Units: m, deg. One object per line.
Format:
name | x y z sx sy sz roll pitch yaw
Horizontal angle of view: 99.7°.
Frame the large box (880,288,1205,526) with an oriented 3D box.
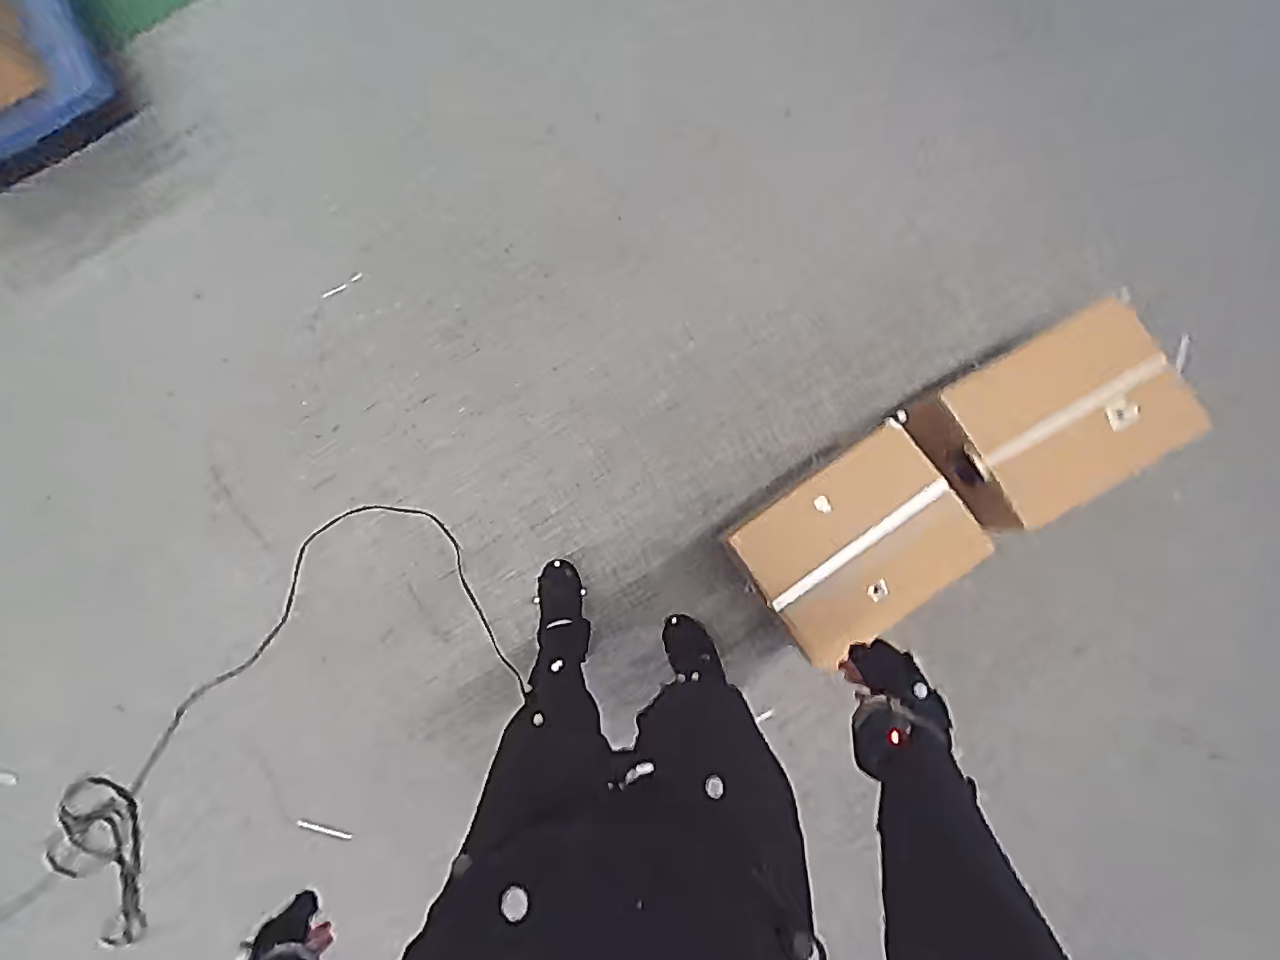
large box | 0.825 -0.129 1.177 0.408 0.320 0.320 -30 85 -1
